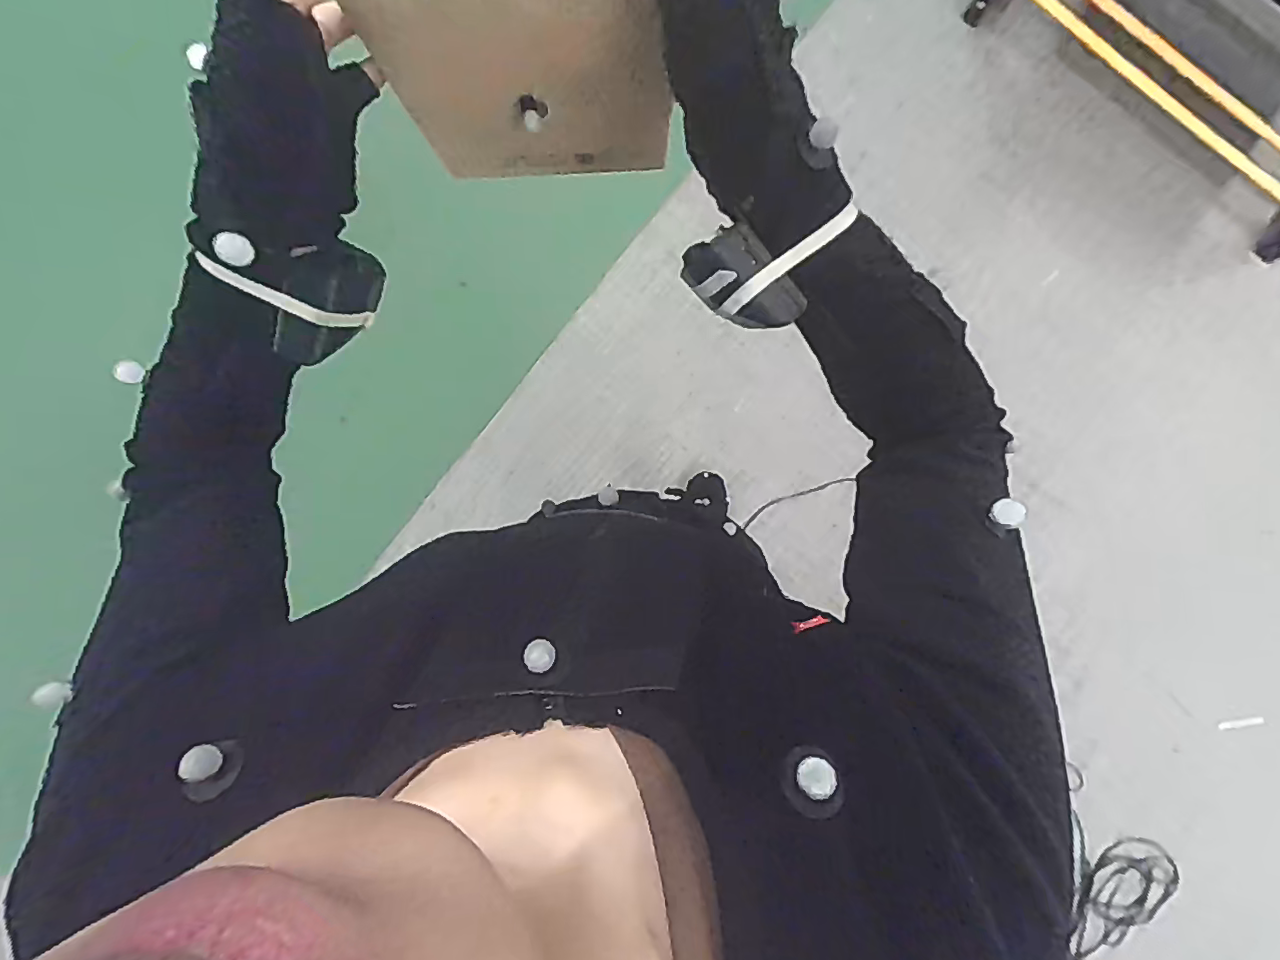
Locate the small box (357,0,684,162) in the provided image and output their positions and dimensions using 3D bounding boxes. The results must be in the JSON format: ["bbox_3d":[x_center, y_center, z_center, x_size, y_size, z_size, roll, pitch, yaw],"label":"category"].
[{"bbox_3d":[-0.059,-0.321,0.330,0.168,0.176,0.179,-2,91,-1],"label":"small box"}]
